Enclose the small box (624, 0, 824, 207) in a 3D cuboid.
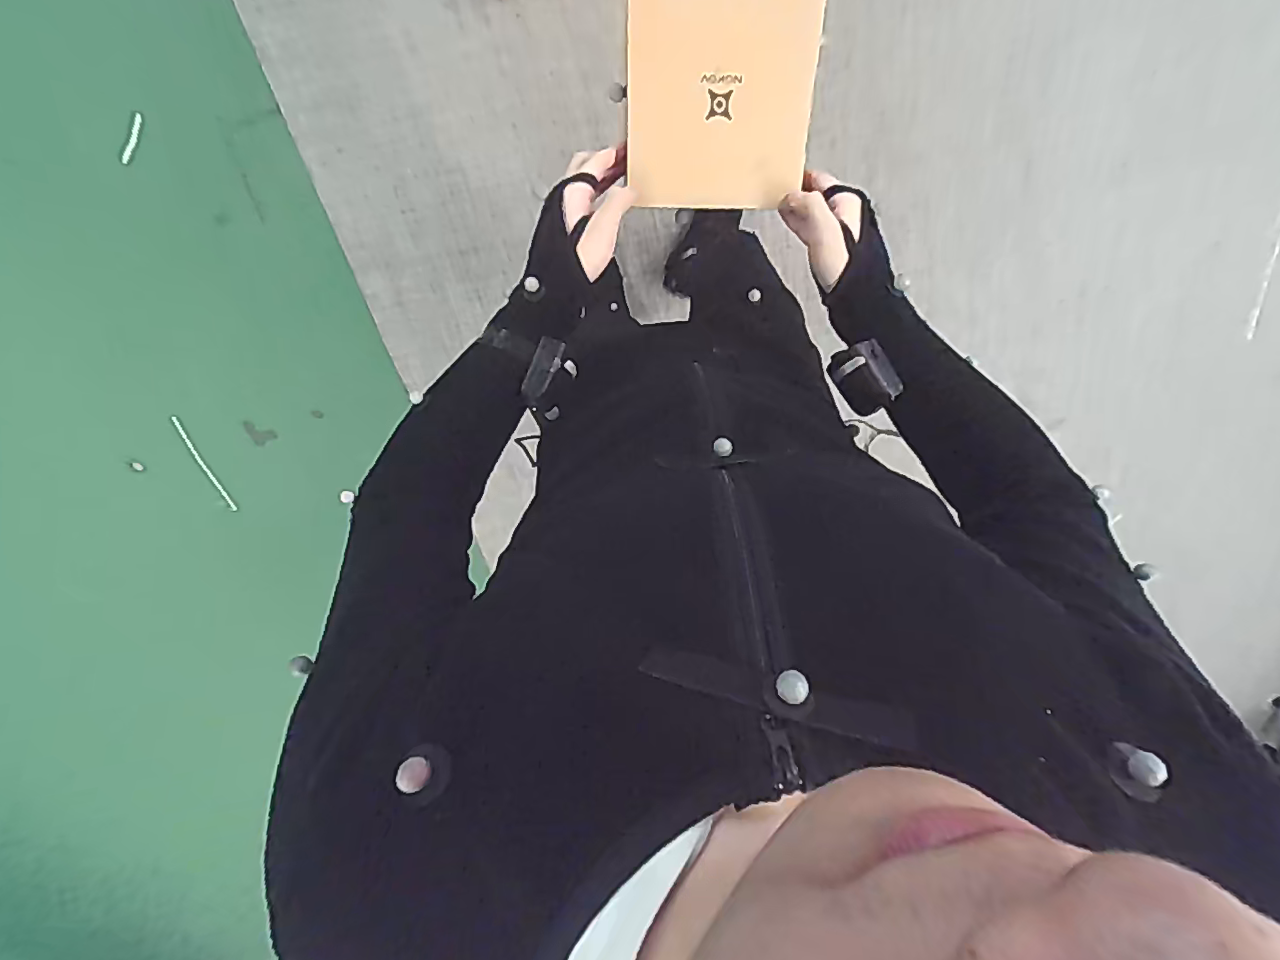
[{"bbox_3d":[0.068,-0.375,0.545,0.168,0.176,0.179,0,116,-2],"label":"small box"}]
